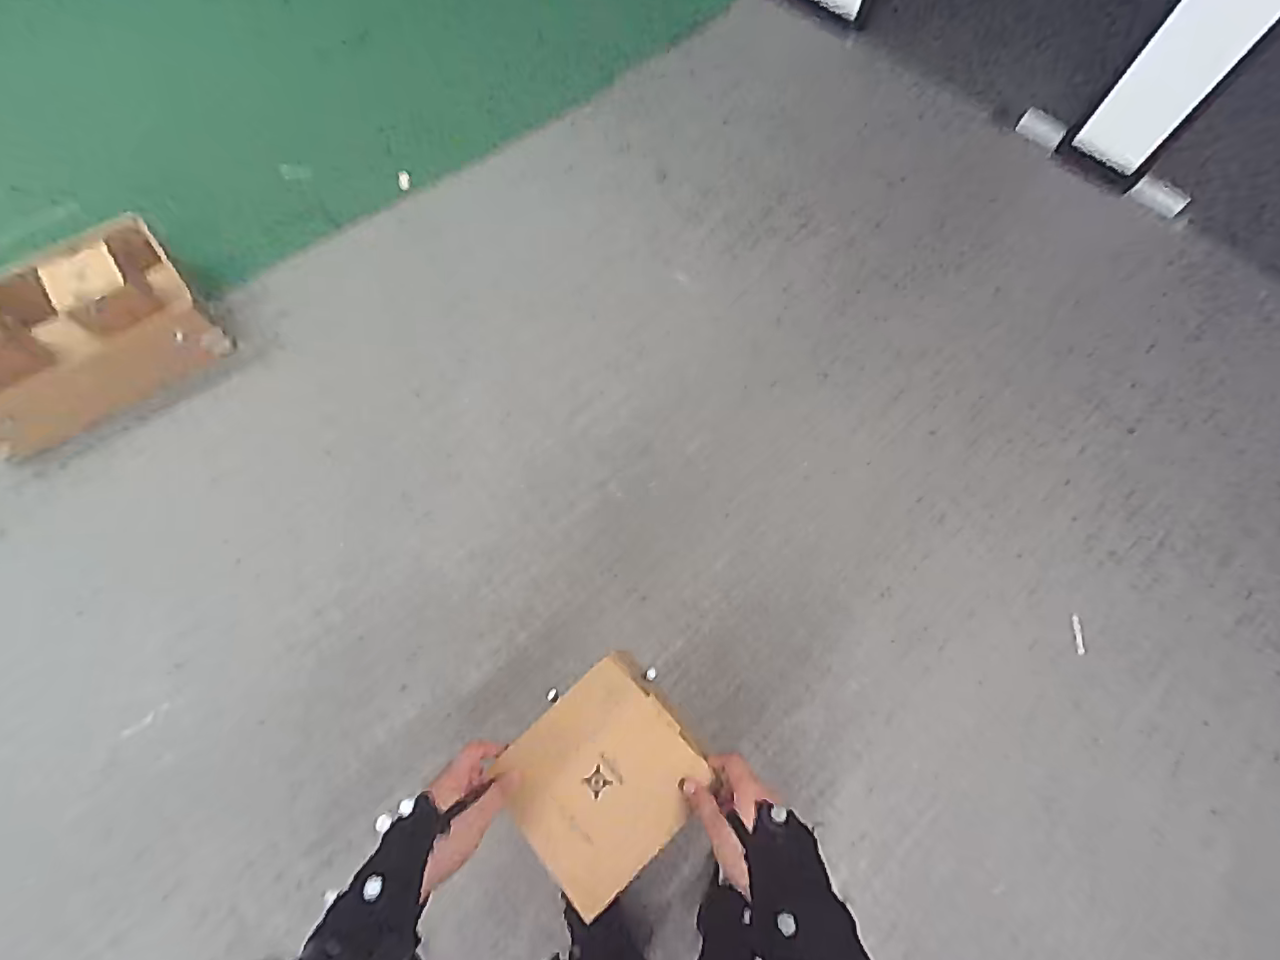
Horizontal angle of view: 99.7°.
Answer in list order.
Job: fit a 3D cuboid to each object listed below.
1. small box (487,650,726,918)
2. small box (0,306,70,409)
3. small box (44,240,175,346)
[{"bbox_3d":[-0.030,0.306,0.595,0.179,0.176,0.168,-42,75,-8],"label":"small box"},{"bbox_3d":[-1.632,-0.314,1.371,0.168,0.176,0.179,-40,74,-17],"label":"small box"},{"bbox_3d":[-1.424,-0.500,1.462,0.168,0.176,0.179,-34,72,-15],"label":"small box"}]
